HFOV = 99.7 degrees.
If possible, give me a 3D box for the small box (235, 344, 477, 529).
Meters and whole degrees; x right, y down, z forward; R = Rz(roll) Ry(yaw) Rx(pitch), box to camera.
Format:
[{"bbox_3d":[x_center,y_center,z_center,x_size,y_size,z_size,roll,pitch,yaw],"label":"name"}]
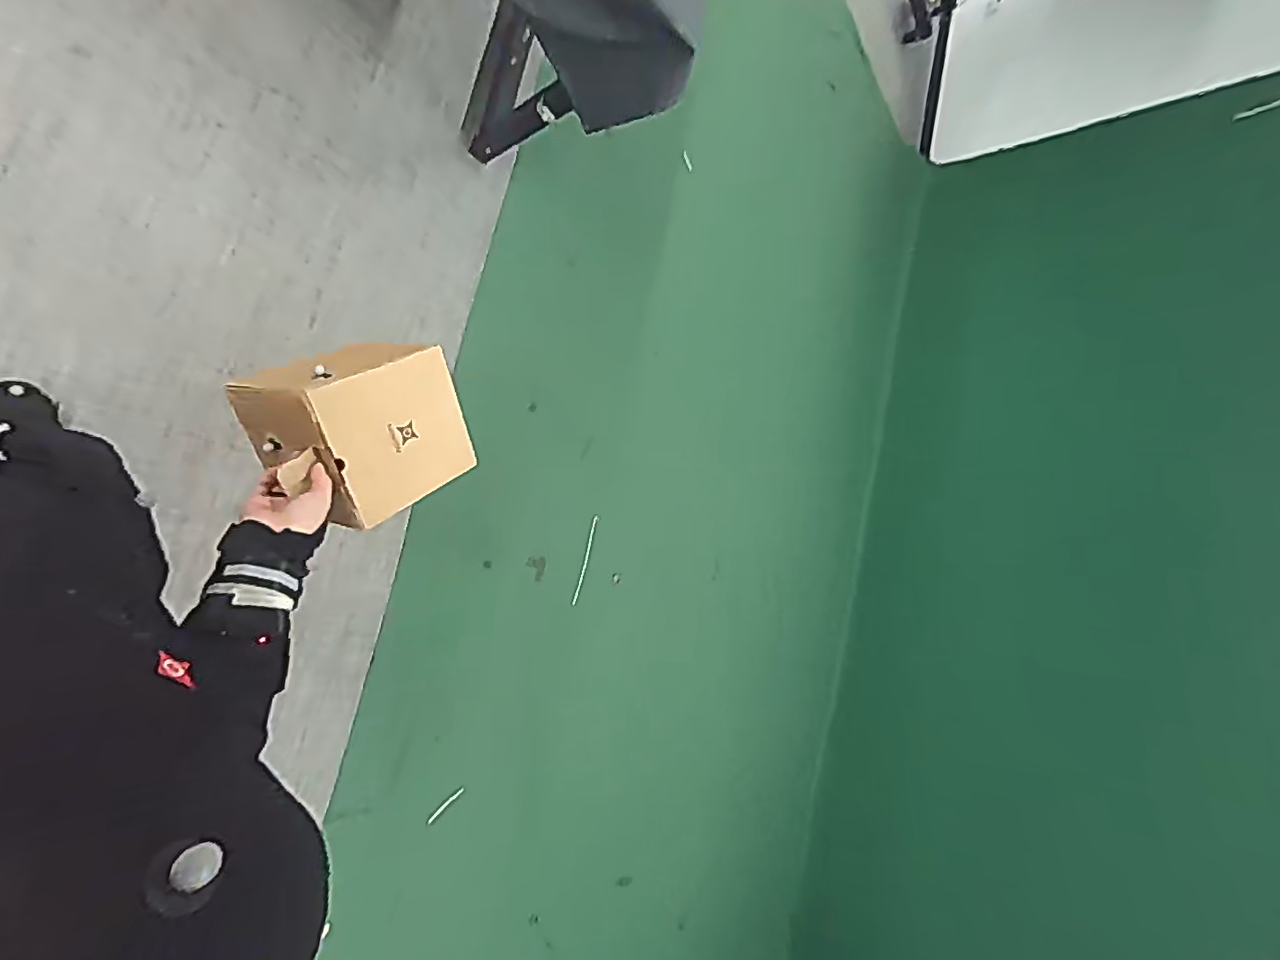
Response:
[{"bbox_3d":[-0.339,-0.066,0.665,0.179,0.176,0.168,-42,133,-47],"label":"small box"}]
